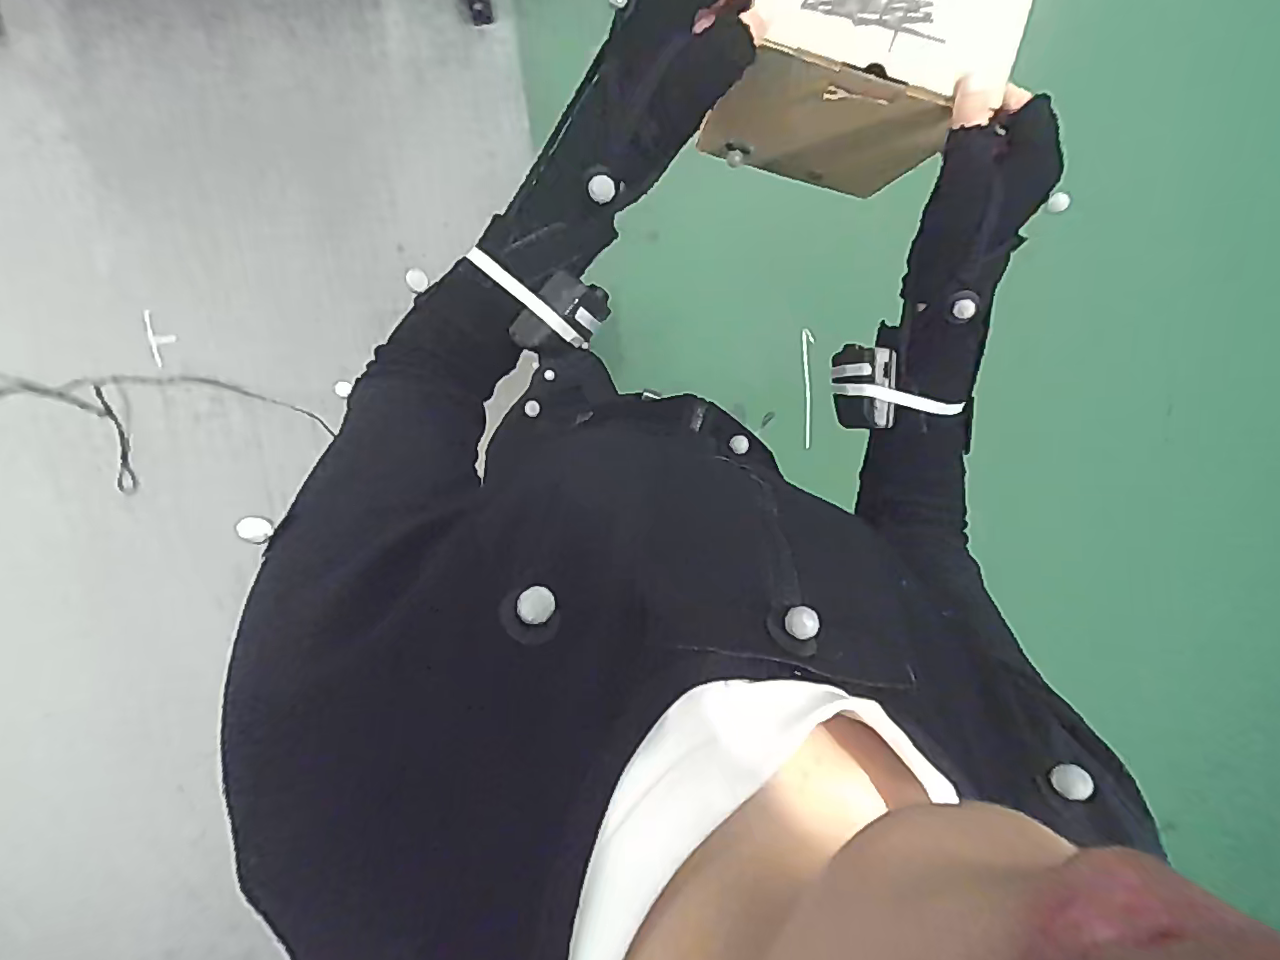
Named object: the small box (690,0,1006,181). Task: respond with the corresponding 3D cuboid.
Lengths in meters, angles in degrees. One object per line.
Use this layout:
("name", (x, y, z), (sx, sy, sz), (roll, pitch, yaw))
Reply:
("small box", (0.141, -0.348, 0.389), (0.168, 0.176, 0.179), (12, 99, -8))
